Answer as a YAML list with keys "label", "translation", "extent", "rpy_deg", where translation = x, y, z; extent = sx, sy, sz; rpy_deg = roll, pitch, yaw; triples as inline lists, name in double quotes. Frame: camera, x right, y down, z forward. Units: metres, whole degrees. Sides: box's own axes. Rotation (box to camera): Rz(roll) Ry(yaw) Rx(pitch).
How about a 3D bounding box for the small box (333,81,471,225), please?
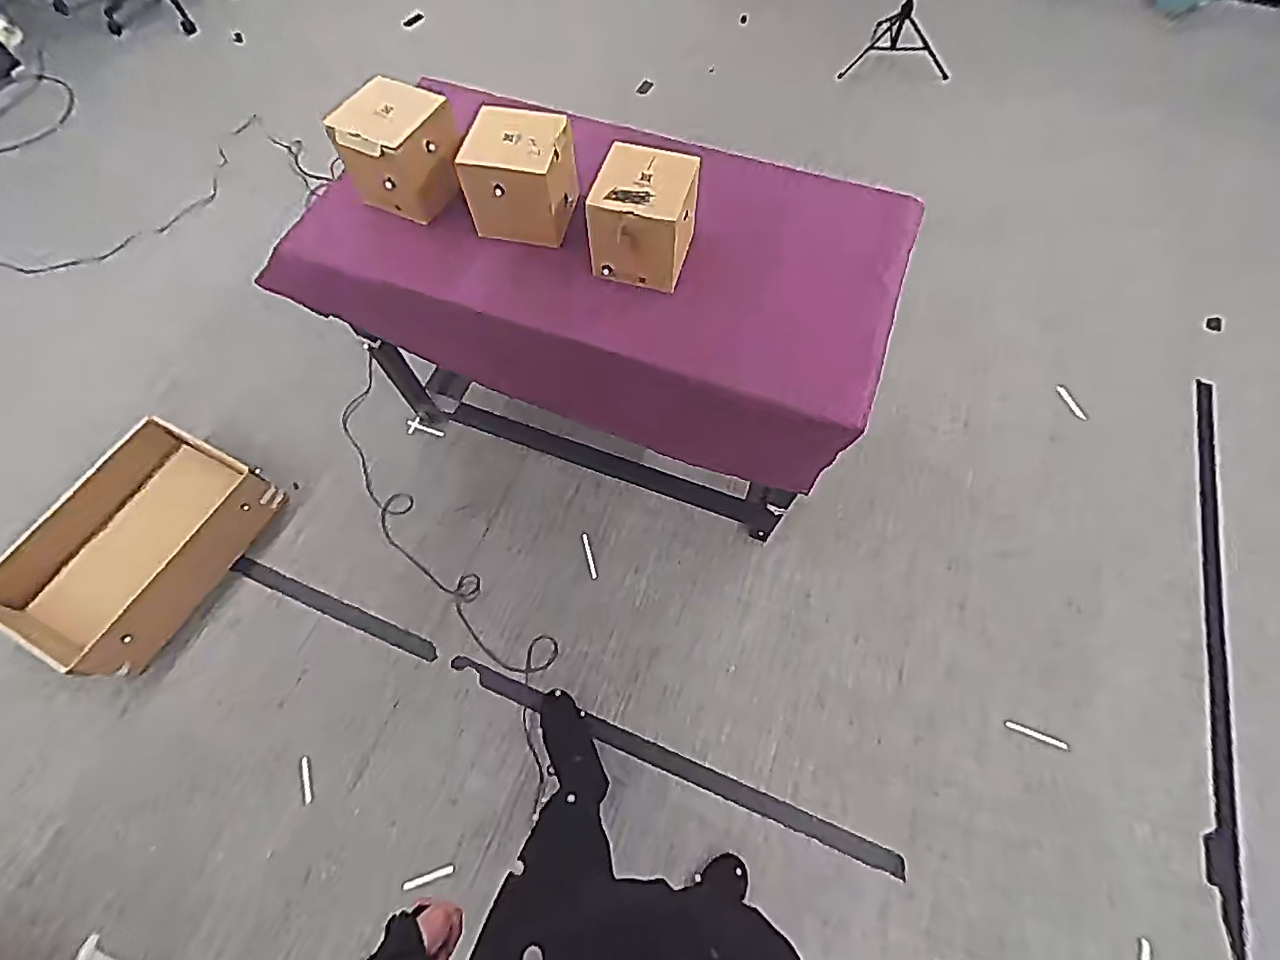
- label: "small box"
  translation: [-0.472, -0.663, 1.108]
  extent: [0.168, 0.176, 0.179]
  rpy_deg: [24, 68, 10]

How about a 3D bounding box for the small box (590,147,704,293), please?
- label: "small box"
  translation: [0.016, -0.486, 1.026]
  extent: [0.168, 0.176, 0.179]
  rpy_deg: [15, 66, 7]

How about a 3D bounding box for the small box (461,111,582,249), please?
- label: "small box"
  translation: [-0.224, -0.588, 1.072]
  extent: [0.179, 0.176, 0.168]
  rpy_deg: [11, 67, 5]
